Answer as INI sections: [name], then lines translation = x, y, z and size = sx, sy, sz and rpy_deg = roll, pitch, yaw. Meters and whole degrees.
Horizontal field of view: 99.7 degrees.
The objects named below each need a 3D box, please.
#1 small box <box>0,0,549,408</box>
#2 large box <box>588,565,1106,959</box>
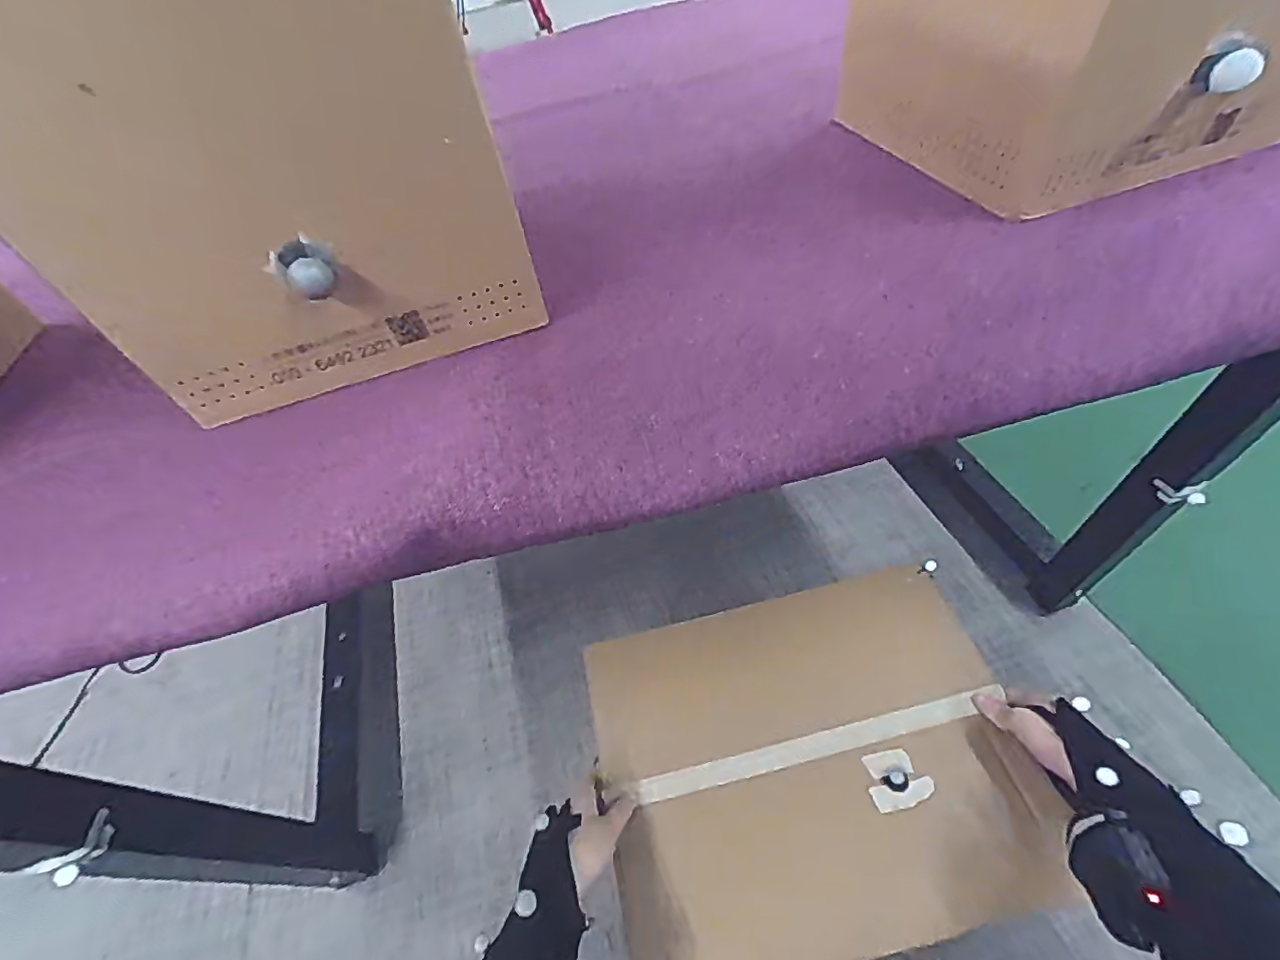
[small box]
translation = -0.154, -0.164, 0.249
size = 0.168, 0.176, 0.179
rpy_deg = -19, 51, -6
[large box]
translation = 0.179, 0.352, 0.642
size = 0.408, 0.320, 0.320
rpy_deg = -13, 51, -3
